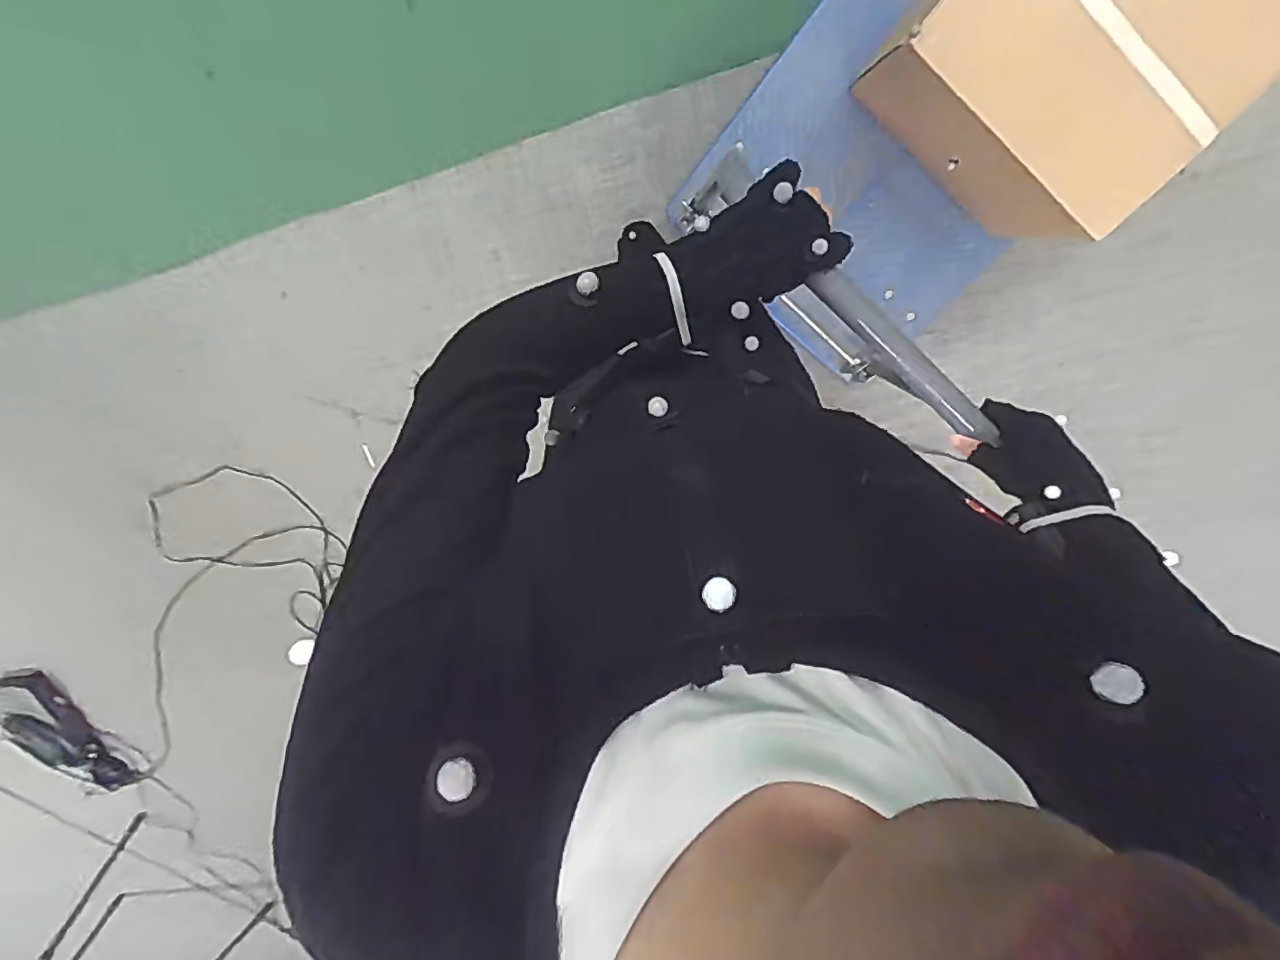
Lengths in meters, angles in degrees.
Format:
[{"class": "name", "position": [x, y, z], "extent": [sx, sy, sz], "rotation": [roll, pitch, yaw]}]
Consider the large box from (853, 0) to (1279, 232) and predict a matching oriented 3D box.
[{"class": "large box", "position": [0.616, -0.641, 0.832], "extent": [0.408, 0.320, 0.320], "rotation": [35, 113, -10]}]
